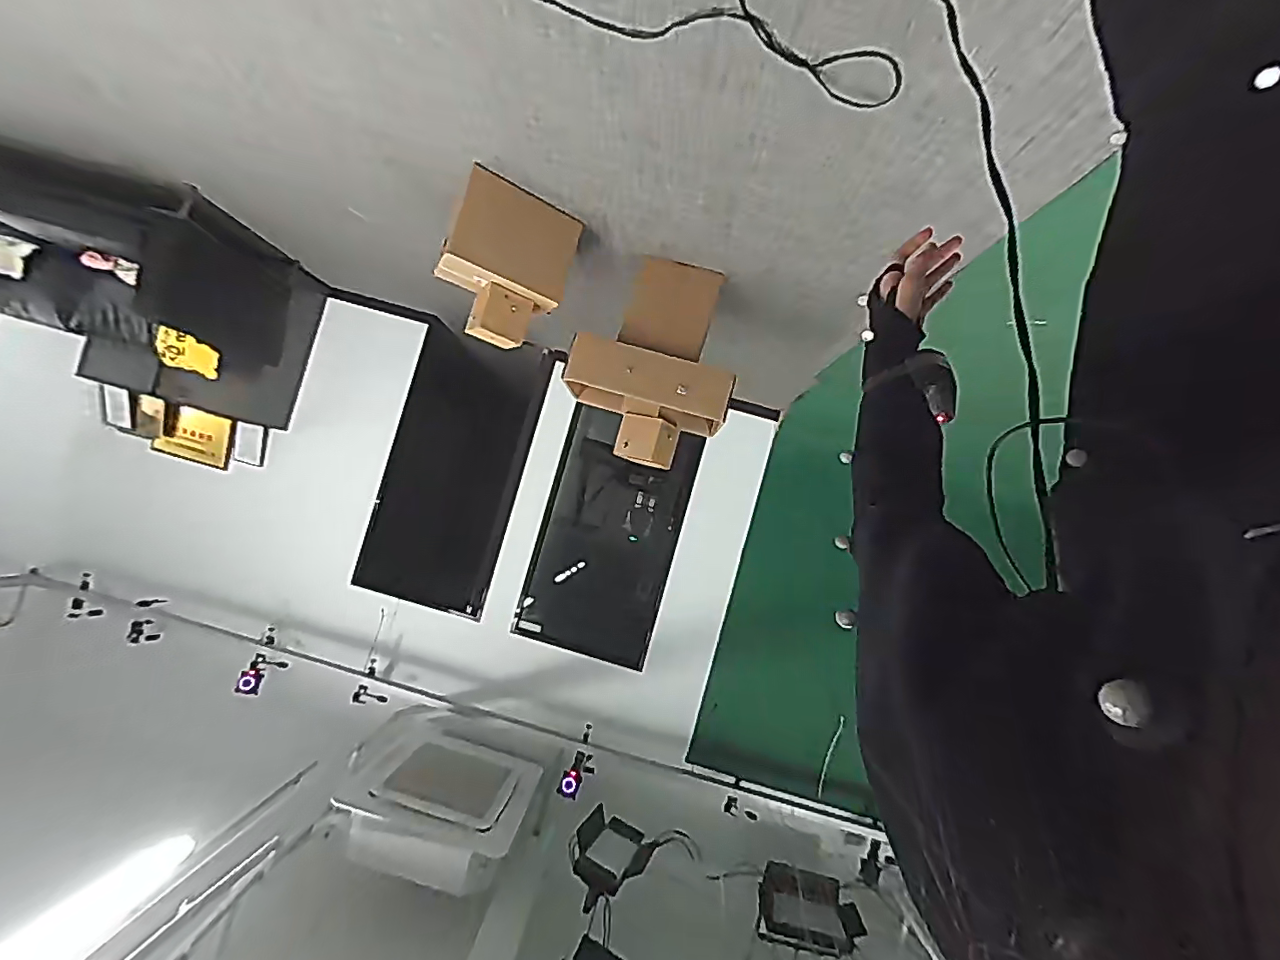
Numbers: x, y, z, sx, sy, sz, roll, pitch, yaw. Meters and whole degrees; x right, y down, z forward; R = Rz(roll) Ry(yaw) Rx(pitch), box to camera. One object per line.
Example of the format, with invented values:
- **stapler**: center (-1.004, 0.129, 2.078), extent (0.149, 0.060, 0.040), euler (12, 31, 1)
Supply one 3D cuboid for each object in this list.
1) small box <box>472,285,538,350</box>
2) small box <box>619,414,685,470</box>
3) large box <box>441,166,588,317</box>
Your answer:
- **small box**: center (-0.492, -0.591, 1.976), extent (0.168, 0.176, 0.179), euler (18, 178, -32)
- **small box**: center (0.051, -0.149, 2.096), extent (0.179, 0.176, 0.168), euler (13, 177, 31)
- **large box**: center (-0.457, -0.836, 1.957), extent (0.408, 0.320, 0.320), euler (19, 176, -28)
